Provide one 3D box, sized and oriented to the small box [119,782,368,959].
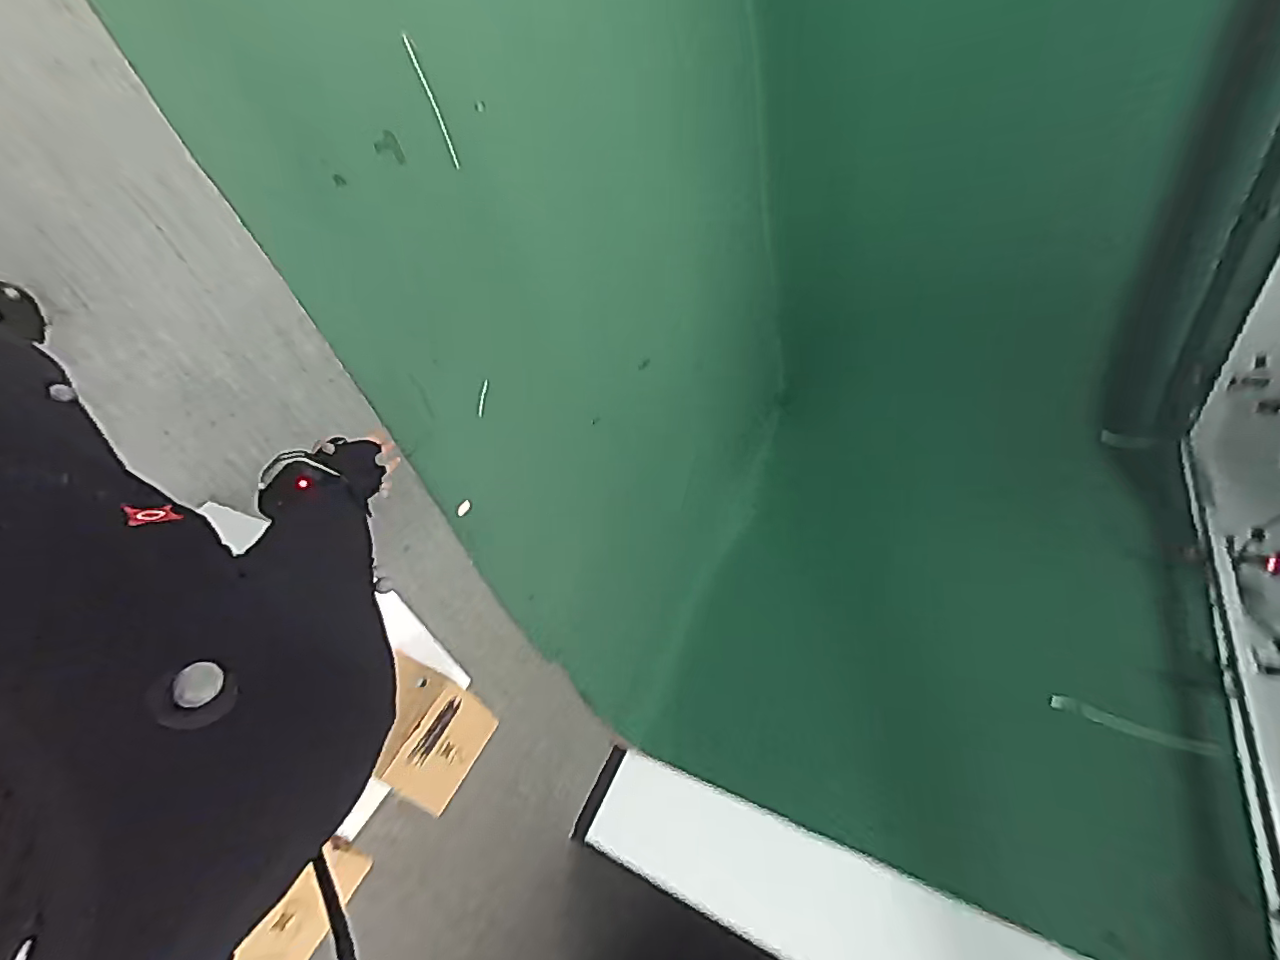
[{"bbox_3d":[-0.516,0.538,0.715,0.179,0.176,0.168,-56,141,-36],"label":"small box"}]
